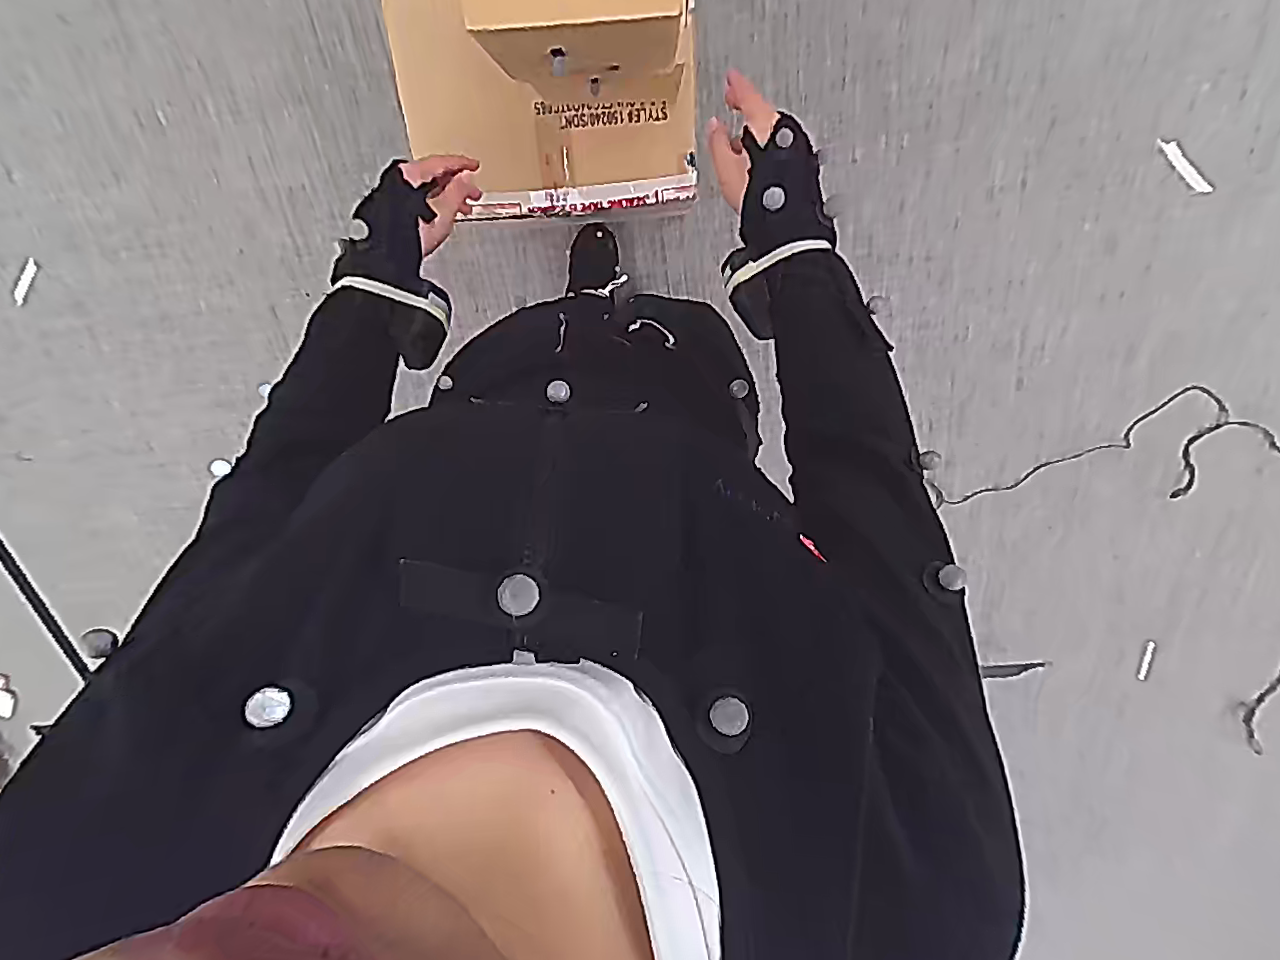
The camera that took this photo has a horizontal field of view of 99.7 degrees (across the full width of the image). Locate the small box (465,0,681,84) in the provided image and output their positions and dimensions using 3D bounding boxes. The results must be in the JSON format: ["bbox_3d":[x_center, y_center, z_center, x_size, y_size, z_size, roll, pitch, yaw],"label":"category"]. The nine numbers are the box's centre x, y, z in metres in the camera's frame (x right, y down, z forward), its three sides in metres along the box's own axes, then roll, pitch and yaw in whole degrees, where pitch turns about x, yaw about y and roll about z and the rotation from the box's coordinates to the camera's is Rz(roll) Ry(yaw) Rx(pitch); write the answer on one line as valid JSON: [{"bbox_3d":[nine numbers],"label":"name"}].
[{"bbox_3d":[-0.051,-0.451,0.447,0.168,0.176,0.179,-3,114,2],"label":"small box"}]

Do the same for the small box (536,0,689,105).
[{"bbox_3d":[-0.037,-0.525,0.591,0.179,0.176,0.168,-1,115,1],"label":"small box"}]
